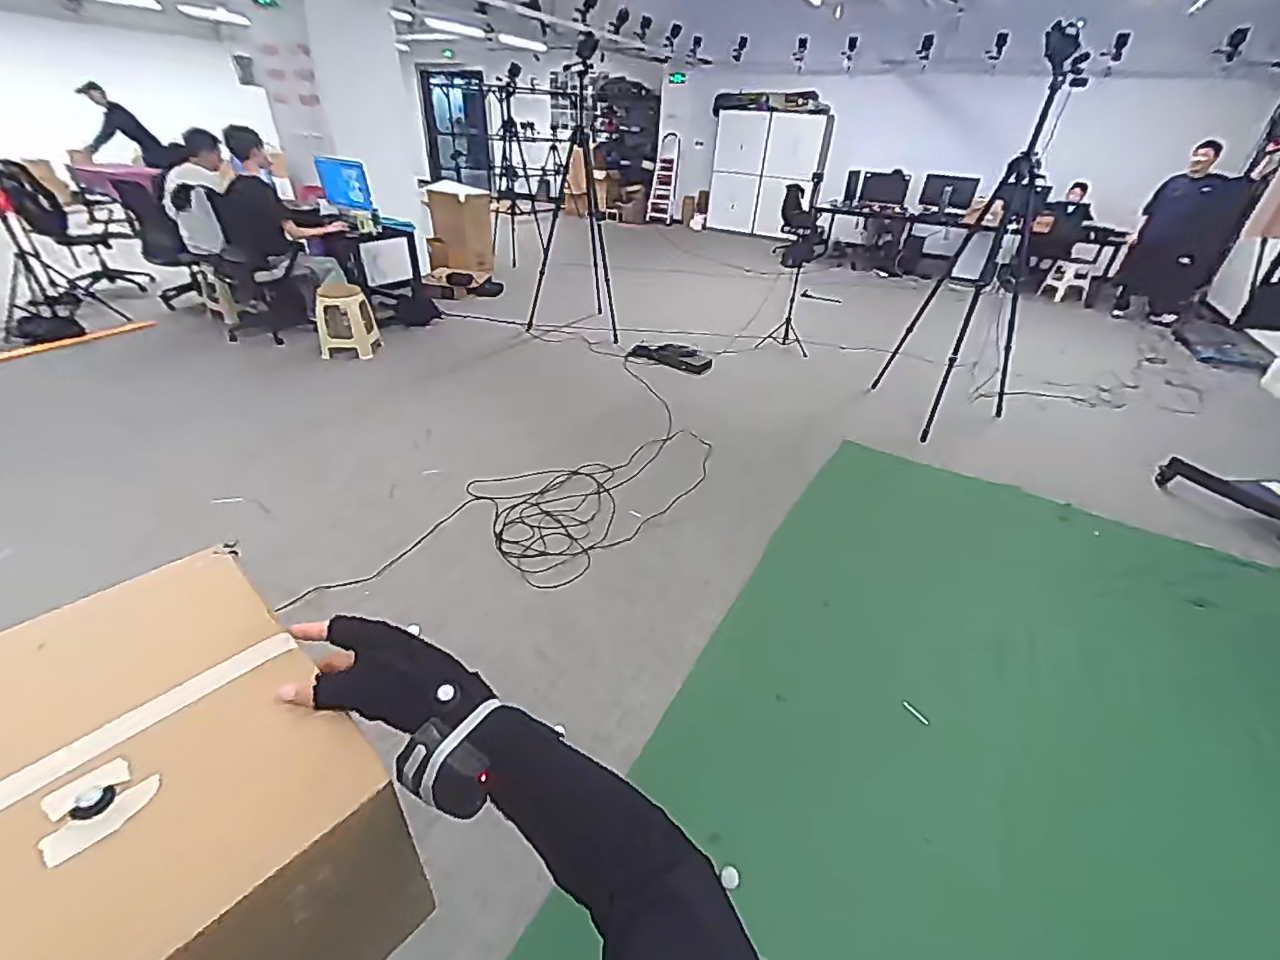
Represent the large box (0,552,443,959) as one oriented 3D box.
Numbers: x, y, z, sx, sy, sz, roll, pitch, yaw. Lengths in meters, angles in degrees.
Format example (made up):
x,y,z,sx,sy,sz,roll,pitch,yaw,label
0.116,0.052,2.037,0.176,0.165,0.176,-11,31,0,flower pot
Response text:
x,y,z,sx,sy,sz,roll,pitch,yaw,label
-0.432,0.339,0.439,0.320,0.320,0.408,33,44,27,large box
